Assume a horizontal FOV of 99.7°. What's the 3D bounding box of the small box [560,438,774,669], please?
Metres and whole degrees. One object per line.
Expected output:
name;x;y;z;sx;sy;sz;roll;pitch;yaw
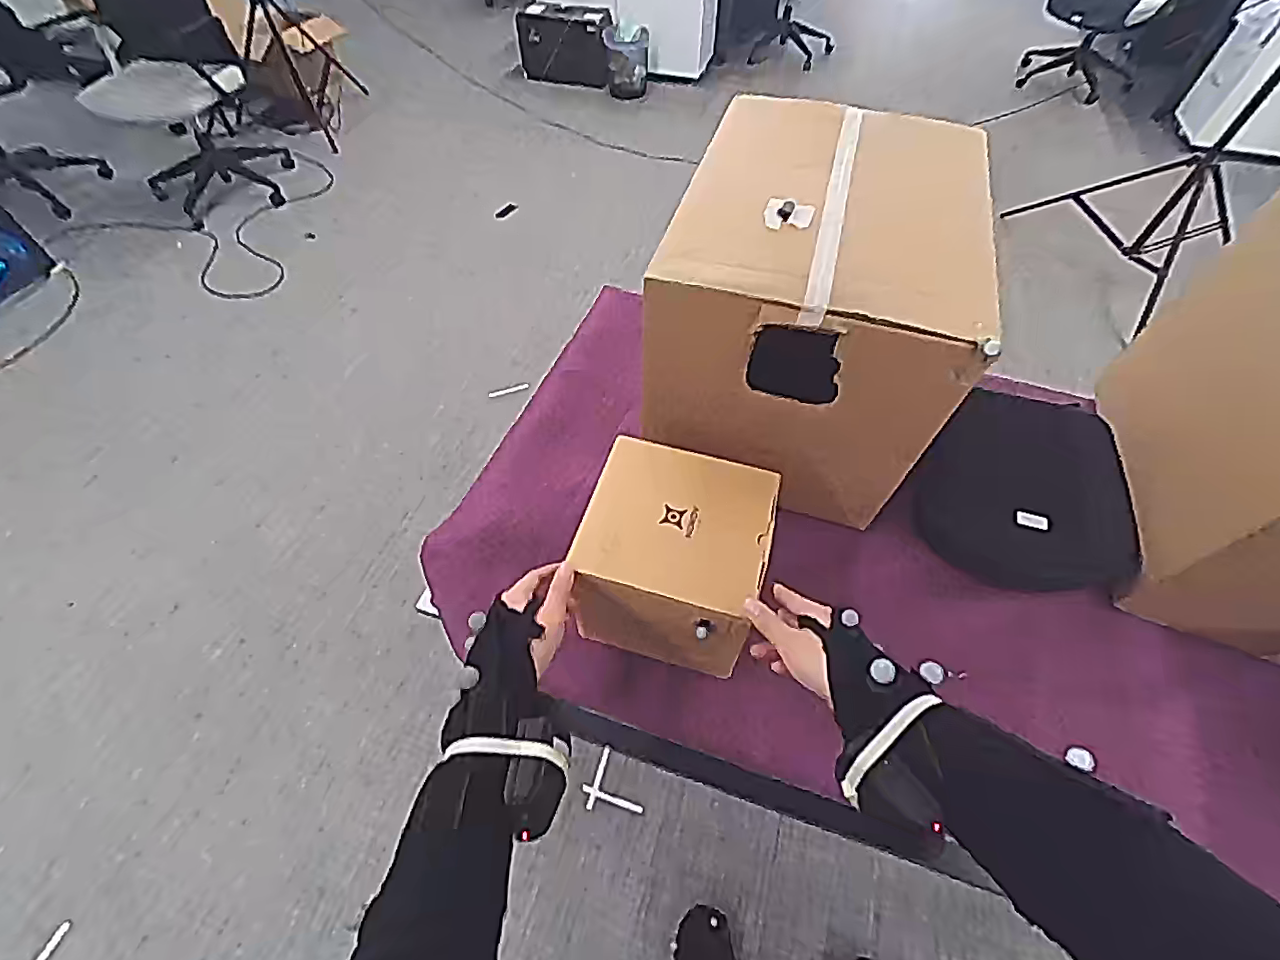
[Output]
small box;0.031;0.084;0.582;0.179;0.176;0.168;14;55;9

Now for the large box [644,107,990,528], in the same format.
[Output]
large box;0.203;-0.209;0.706;0.320;0.320;0.408;14;58;10
